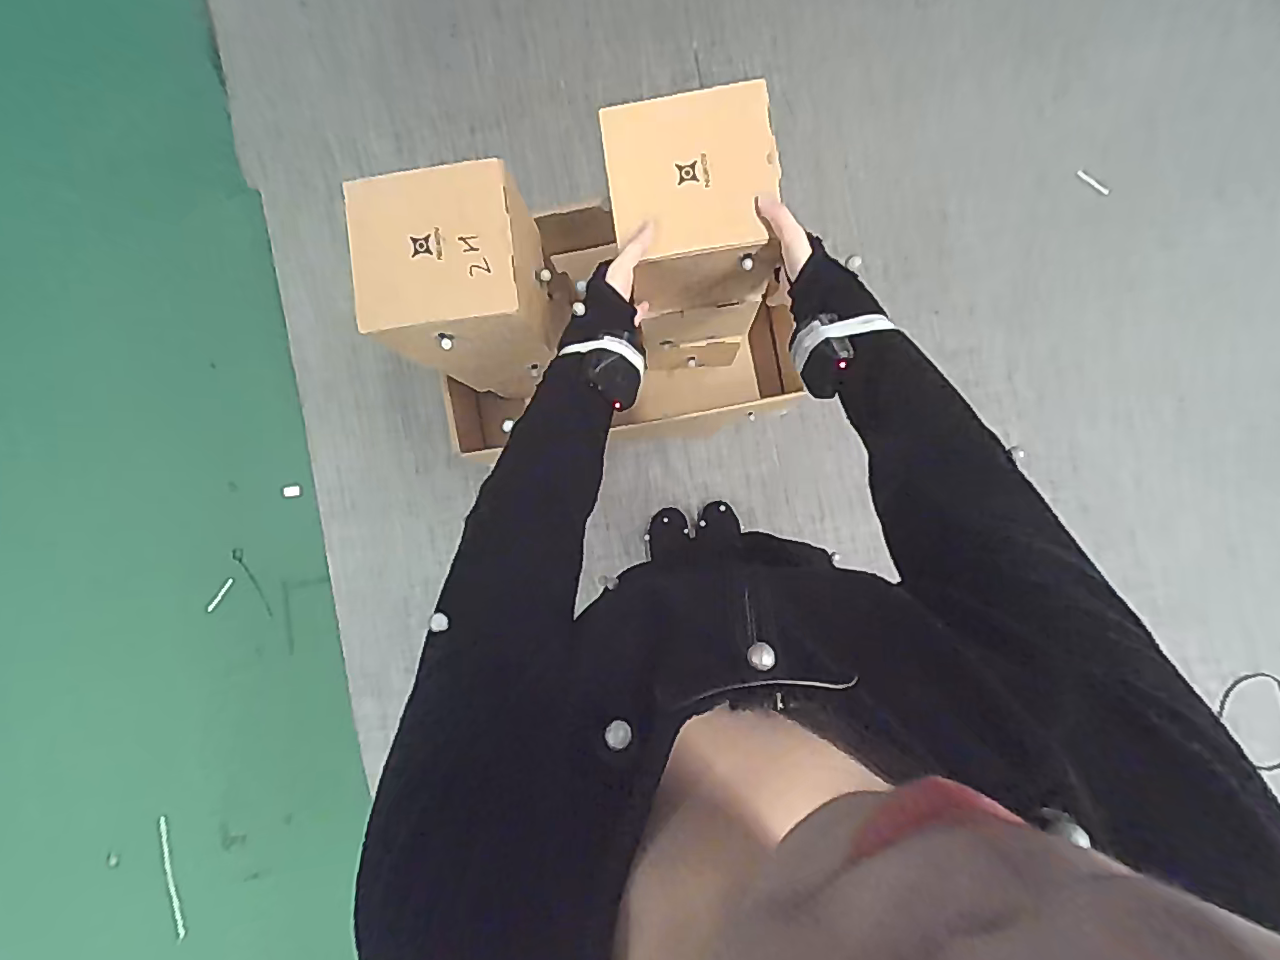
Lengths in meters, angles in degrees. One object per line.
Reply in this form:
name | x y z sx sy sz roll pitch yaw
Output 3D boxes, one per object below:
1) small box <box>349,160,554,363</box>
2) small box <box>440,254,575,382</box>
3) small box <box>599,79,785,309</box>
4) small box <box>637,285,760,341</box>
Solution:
small box | -0.214 -0.246 0.652 0.179 0.176 0.168 -5 89 4
small box | -0.201 -0.252 0.817 0.168 0.176 0.179 -9 88 4
small box | 0.059 -0.315 0.634 0.179 0.176 0.168 -8 89 4
small box | 0.077 -0.313 0.796 0.168 0.176 0.179 -7 88 5
